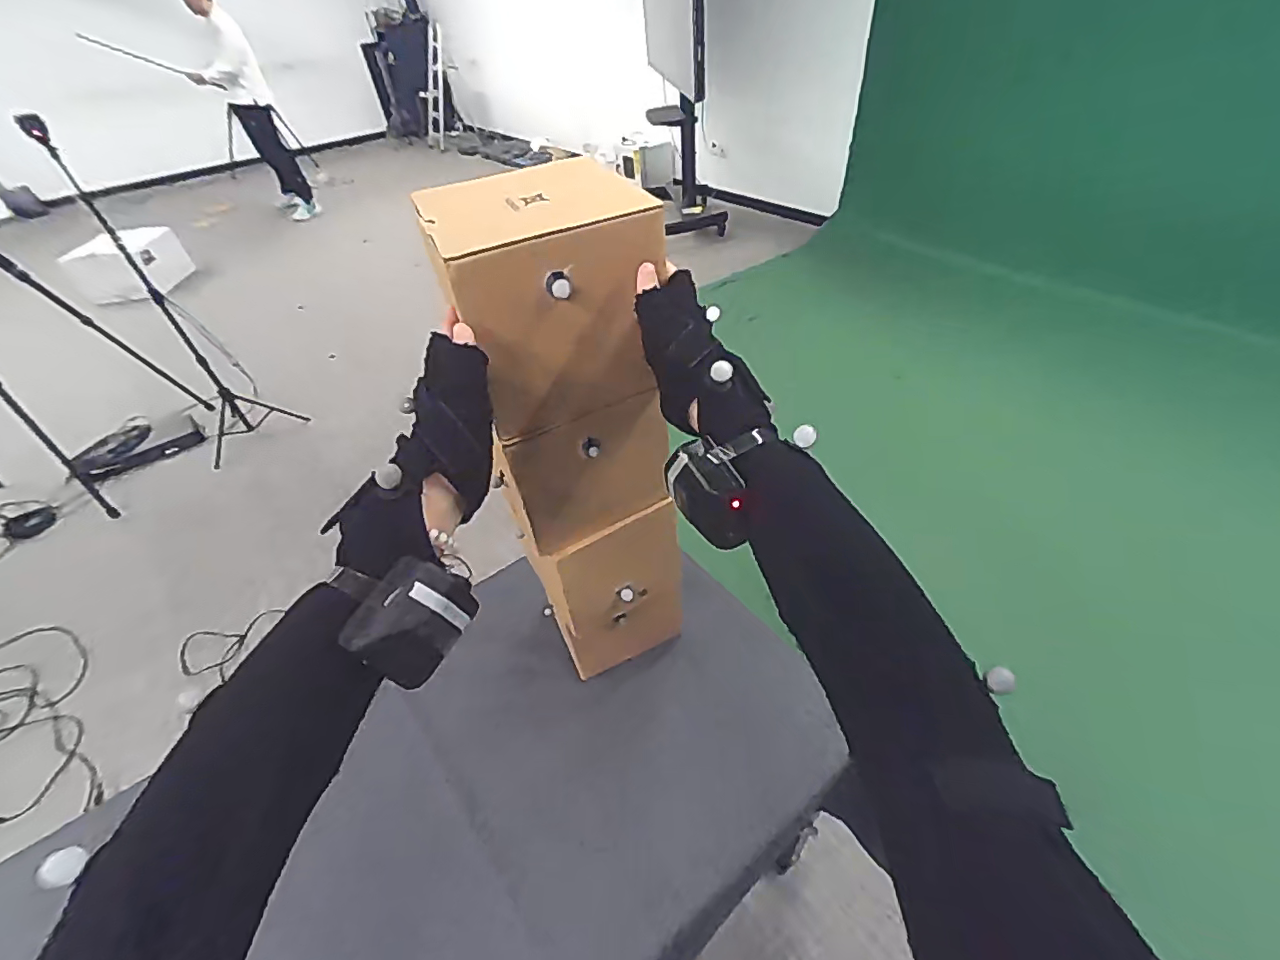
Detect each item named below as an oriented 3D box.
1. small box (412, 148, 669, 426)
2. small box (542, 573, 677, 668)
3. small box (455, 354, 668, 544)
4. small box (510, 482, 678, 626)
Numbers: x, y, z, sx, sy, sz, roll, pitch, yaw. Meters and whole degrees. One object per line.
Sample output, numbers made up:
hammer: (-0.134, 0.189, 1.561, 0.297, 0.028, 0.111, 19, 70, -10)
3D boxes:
small box: (-0.084, -0.178, 0.500, 0.179, 0.176, 0.168, -22, 47, -14)
small box: (-0.052, 0.162, 0.851, 0.179, 0.176, 0.168, -21, 46, -15)
small box: (-0.080, -0.058, 0.610, 0.179, 0.176, 0.168, -24, 48, -18)
small box: (-0.063, 0.058, 0.723, 0.168, 0.176, 0.179, -26, 48, -19)
